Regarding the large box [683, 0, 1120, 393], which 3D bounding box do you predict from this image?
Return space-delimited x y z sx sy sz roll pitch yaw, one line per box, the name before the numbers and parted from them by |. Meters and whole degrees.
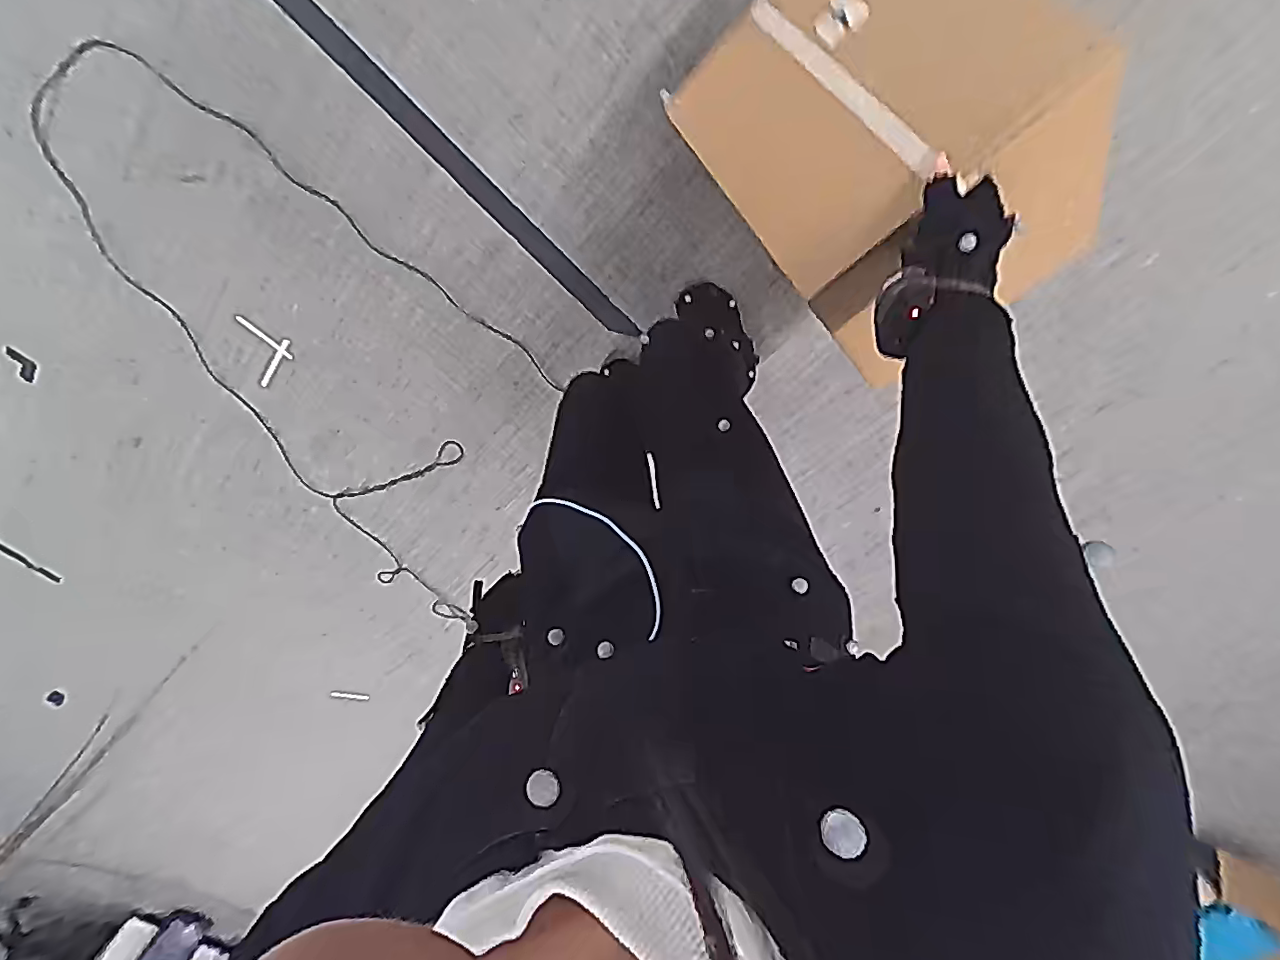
large box | 0.328 -0.397 0.734 0.320 0.408 0.320 -36 149 24
